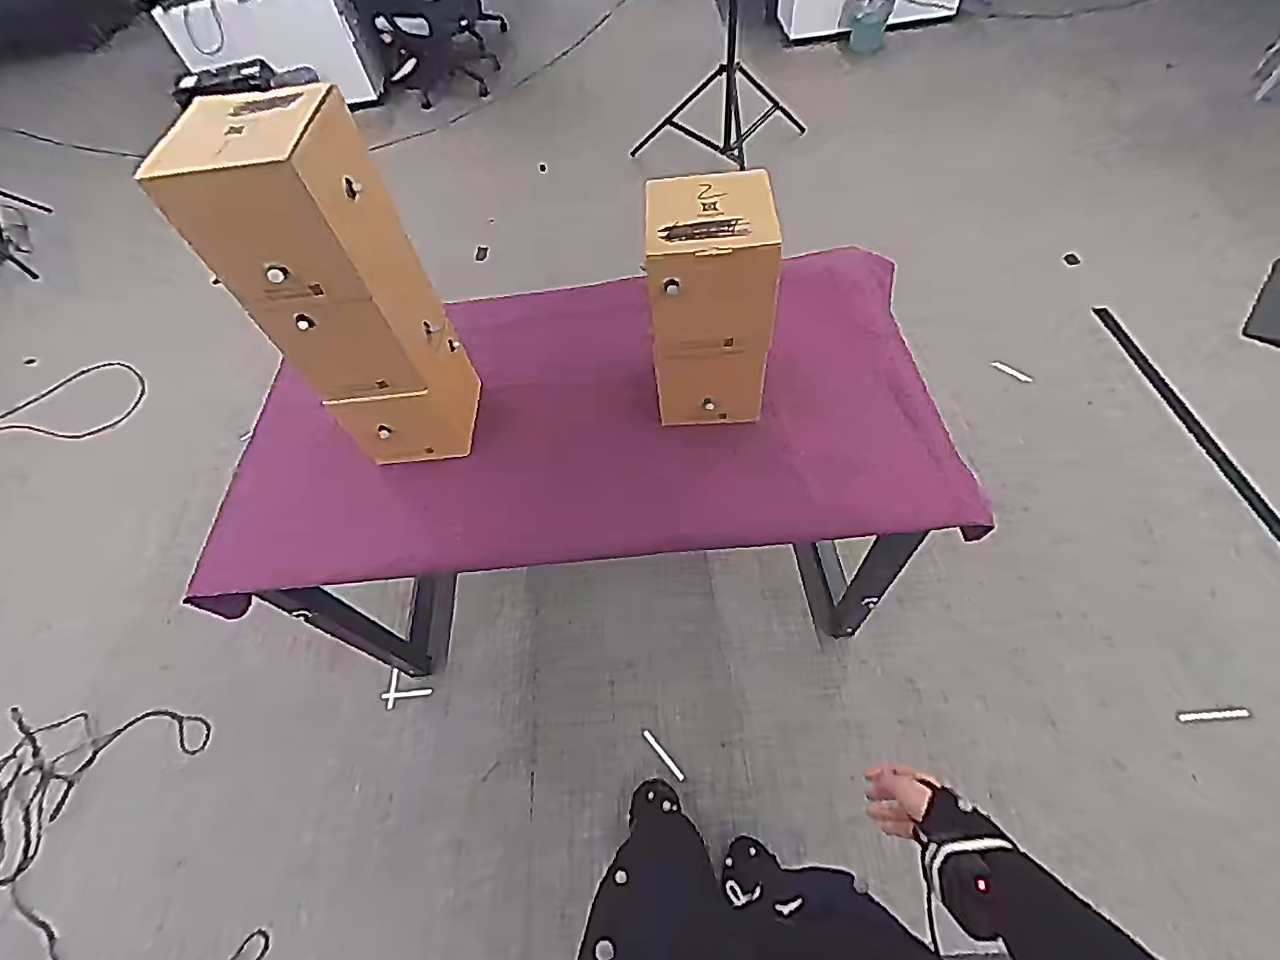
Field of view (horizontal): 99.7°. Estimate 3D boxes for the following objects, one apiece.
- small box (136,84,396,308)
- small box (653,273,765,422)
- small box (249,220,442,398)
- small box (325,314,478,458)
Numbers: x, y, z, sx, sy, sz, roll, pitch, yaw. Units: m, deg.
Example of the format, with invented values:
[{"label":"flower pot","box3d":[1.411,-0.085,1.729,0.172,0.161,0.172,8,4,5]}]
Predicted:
[{"label":"small box","box3d":[-0.416,-0.332,0.643,0.168,0.176,0.179,-5,57,3]},{"label":"small box","box3d":[0.111,-0.216,0.898,0.168,0.176,0.179,-2,57,6]},{"label":"small box","box3d":[-0.404,-0.244,0.782,0.168,0.176,0.179,-6,56,3]},{"label":"small box","box3d":[-0.388,-0.150,0.916,0.168,0.176,0.179,-5,56,3]}]
